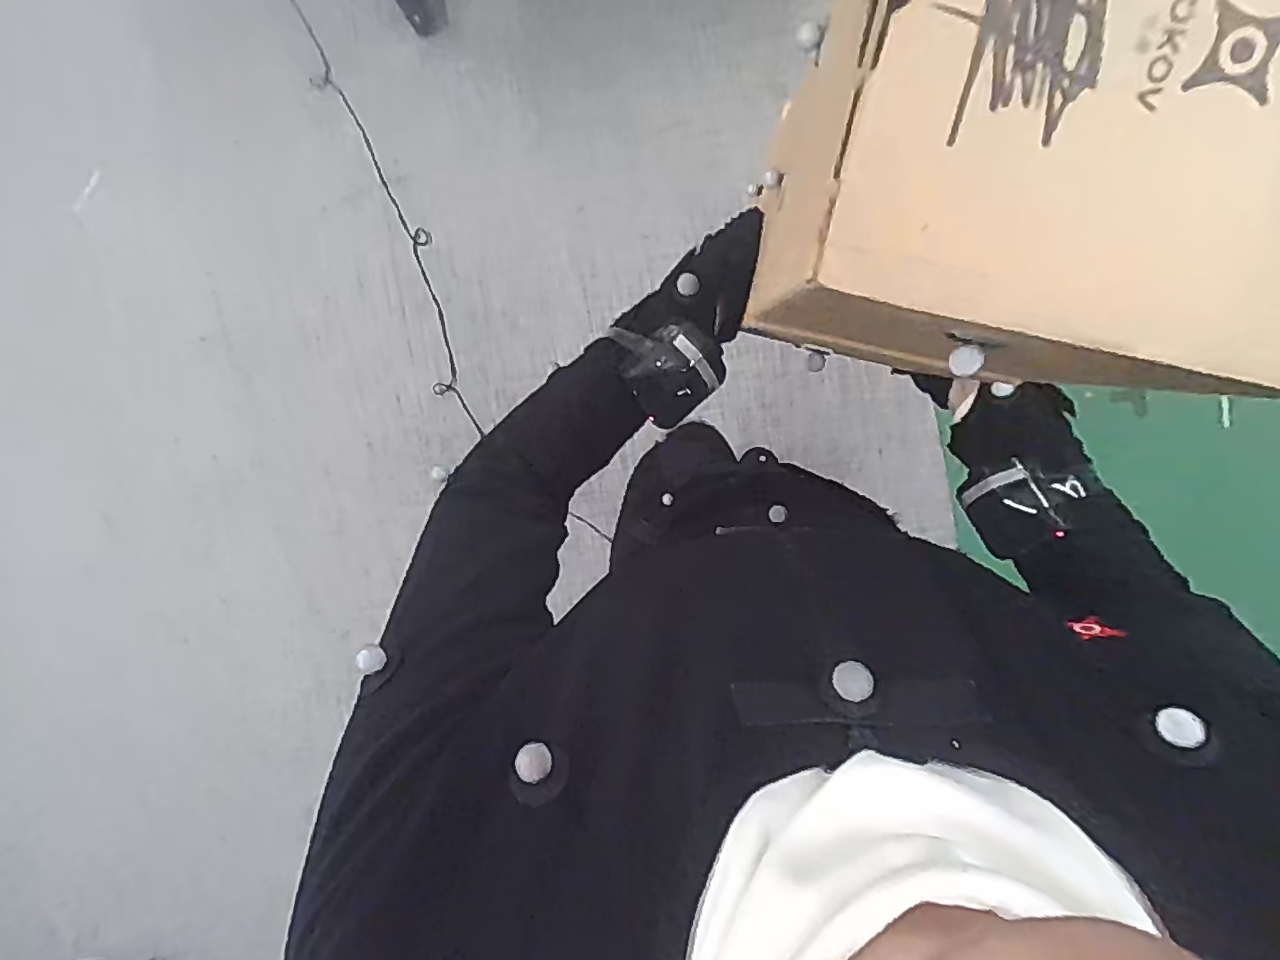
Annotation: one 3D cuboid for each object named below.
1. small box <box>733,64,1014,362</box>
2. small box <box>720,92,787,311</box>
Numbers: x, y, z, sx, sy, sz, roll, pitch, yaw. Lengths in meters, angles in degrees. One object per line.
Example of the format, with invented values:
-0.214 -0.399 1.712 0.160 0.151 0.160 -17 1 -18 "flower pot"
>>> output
0.168 -0.189 0.383 0.168 0.176 0.179 13 105 2 "small box"
0.187 -0.243 0.537 0.179 0.176 0.168 12 104 1 "small box"
